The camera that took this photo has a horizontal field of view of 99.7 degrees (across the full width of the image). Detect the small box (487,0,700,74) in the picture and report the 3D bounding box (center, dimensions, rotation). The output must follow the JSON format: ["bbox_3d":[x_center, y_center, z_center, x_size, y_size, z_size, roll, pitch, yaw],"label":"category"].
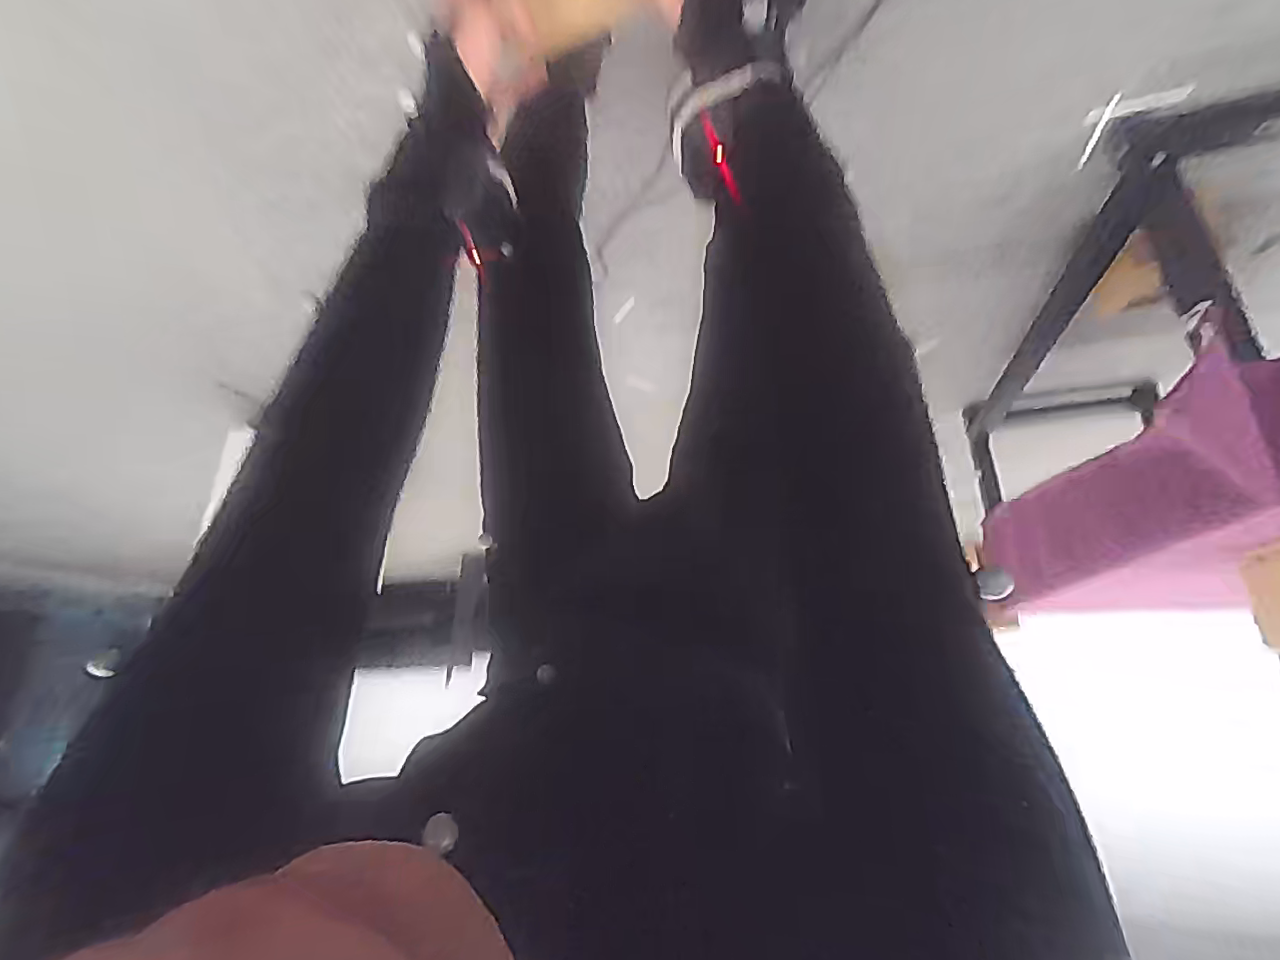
[{"bbox_3d":[-0.054,-0.477,0.422,0.168,0.176,0.179,-10,148,18],"label":"small box"}]

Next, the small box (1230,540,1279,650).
[{"bbox_3d":[1.116,0.174,0.851,0.179,0.176,0.168,-7,158,17],"label":"small box"}]
